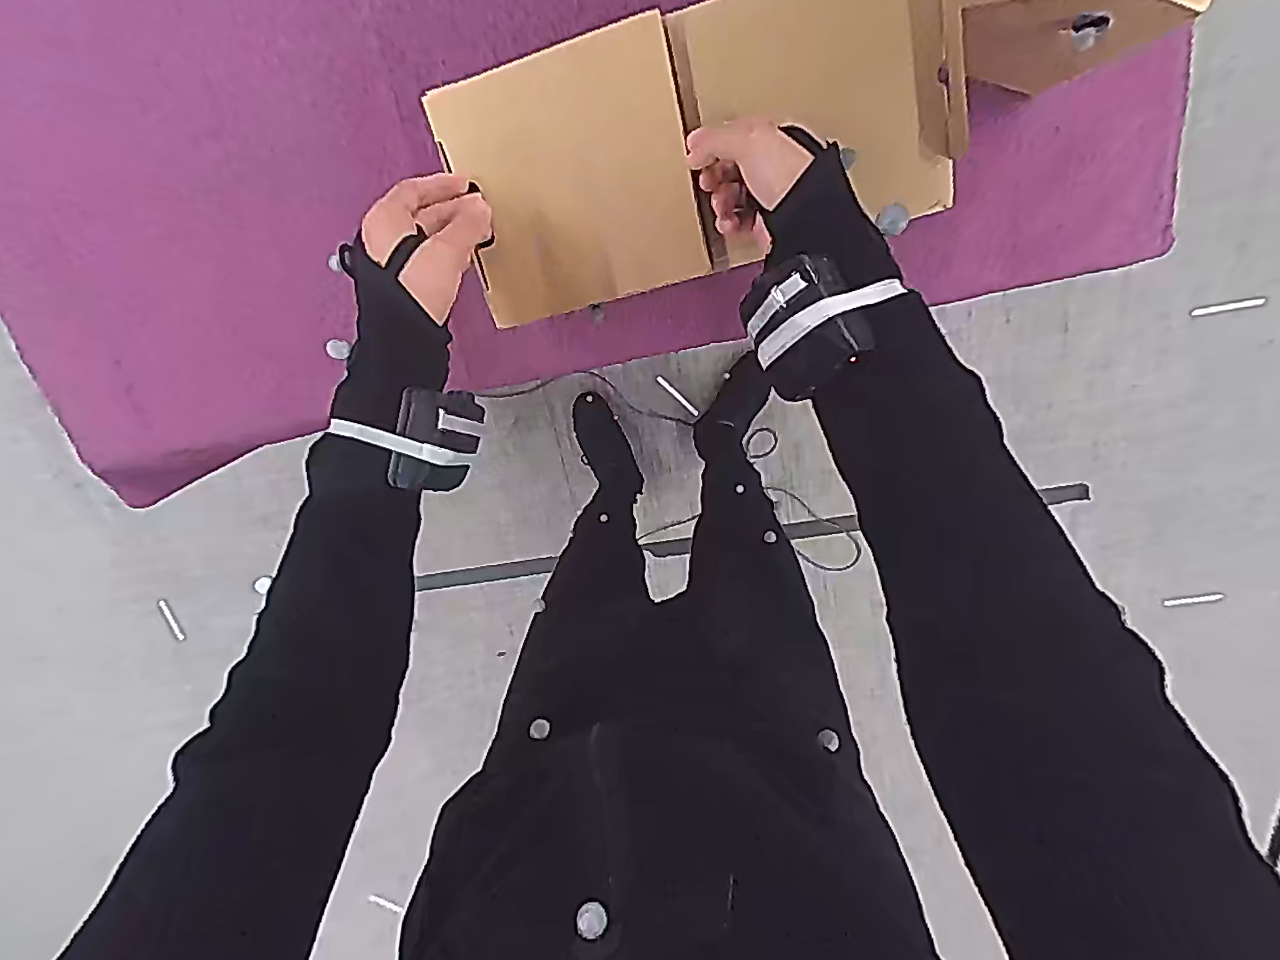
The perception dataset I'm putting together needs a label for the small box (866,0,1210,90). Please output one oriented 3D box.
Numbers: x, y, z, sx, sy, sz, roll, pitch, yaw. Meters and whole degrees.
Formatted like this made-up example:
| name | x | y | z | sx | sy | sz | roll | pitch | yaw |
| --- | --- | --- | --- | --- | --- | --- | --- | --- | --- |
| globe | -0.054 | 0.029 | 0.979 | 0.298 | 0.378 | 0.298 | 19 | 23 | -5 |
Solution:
| name | x | y | z | sx | sy | sz | roll | pitch | yaw |
| --- | --- | --- | --- | --- | --- | --- | --- | --- | --- |
| small box | 0.300 | -0.416 | 0.389 | 0.179 | 0.176 | 0.168 | 15 | 110 | -3 |
